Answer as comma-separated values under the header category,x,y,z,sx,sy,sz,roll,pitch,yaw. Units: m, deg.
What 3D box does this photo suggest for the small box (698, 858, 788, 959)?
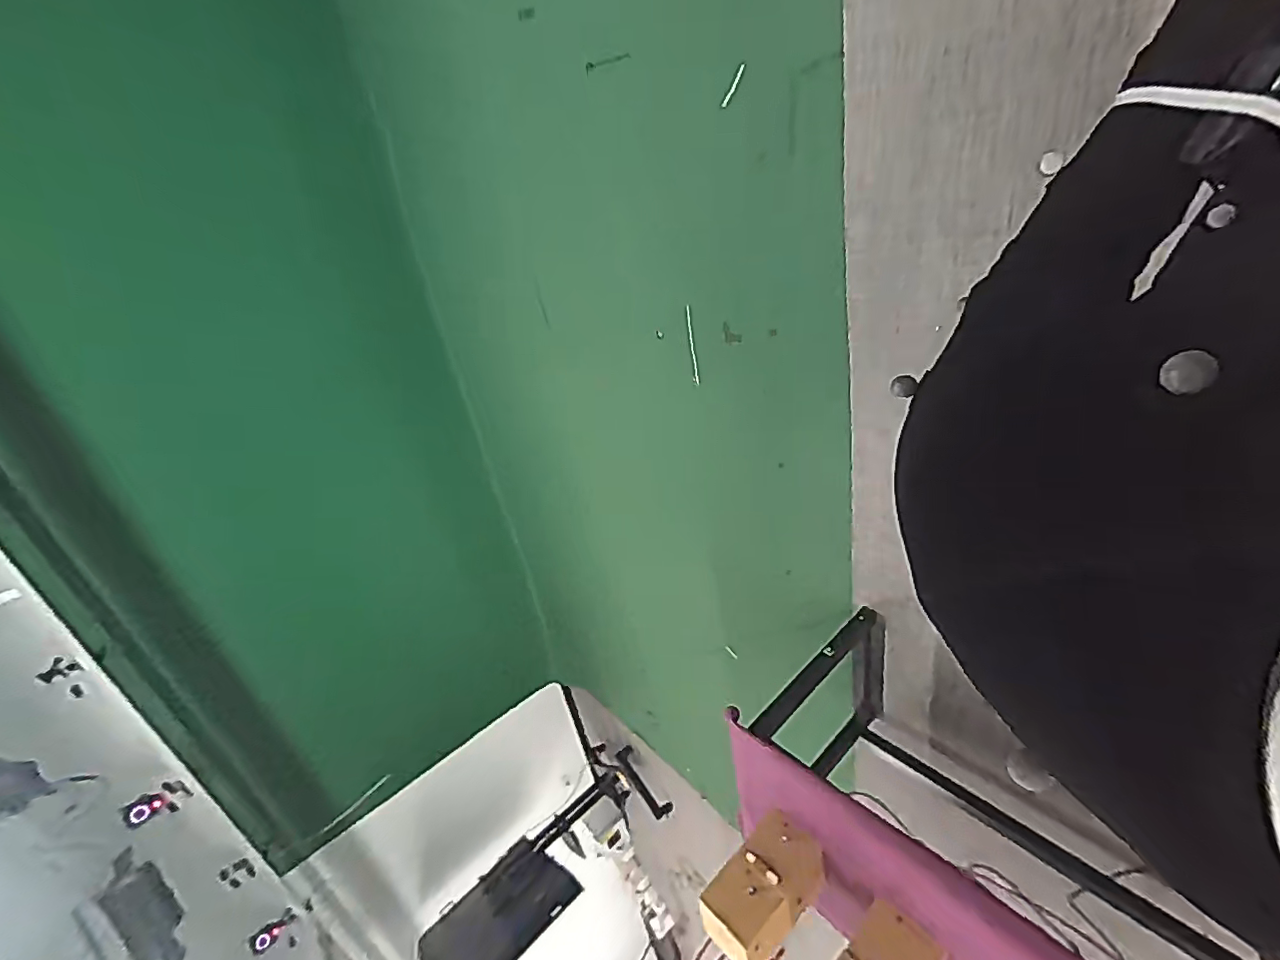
category,x,y,z,sx,sy,sz,roll,pitch,yaw
small box,0.280,1.179,1.450,0.168,0.176,0.179,18,127,47

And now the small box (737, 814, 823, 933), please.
category,x,y,z,sx,sy,sz,roll,pitch,yaw
small box,0.402,1.108,1.534,0.168,0.176,0.179,17,127,47
